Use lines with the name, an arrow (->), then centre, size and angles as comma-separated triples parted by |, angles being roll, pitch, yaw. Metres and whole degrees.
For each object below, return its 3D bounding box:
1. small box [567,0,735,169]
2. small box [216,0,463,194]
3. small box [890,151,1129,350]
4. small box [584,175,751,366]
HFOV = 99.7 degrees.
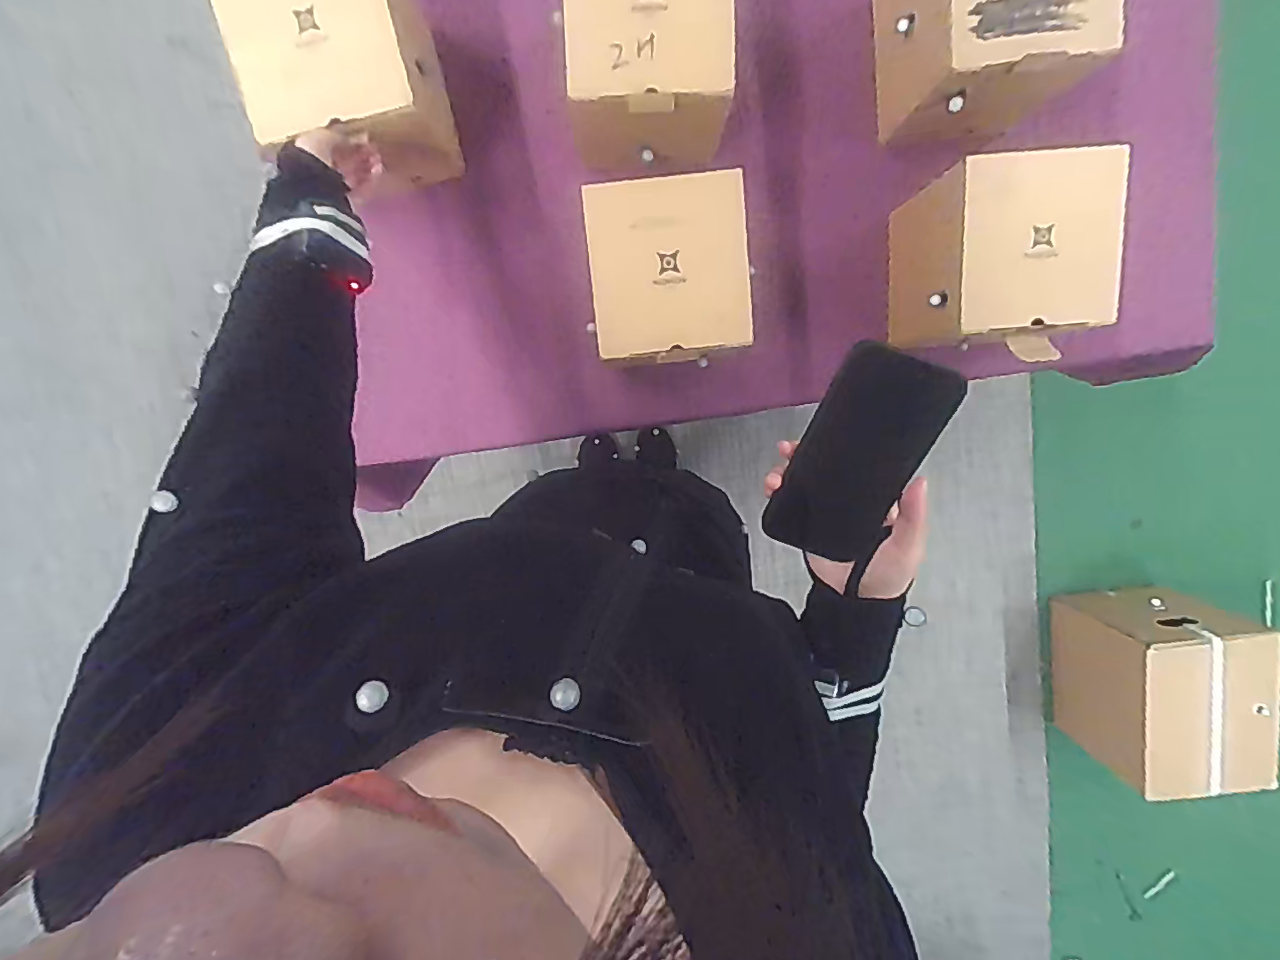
small box -> 0.010, -0.471, 0.596 | 0.168, 0.176, 0.179 | -1, 99, 1
small box -> -0.316, -0.443, 0.602 | 0.168, 0.176, 0.179 | -12, 100, 1
small box -> 0.410, -0.251, 0.630 | 0.168, 0.176, 0.179 | -3, 99, 1
small box -> 0.031, -0.228, 0.636 | 0.168, 0.176, 0.179 | -5, 98, 1
